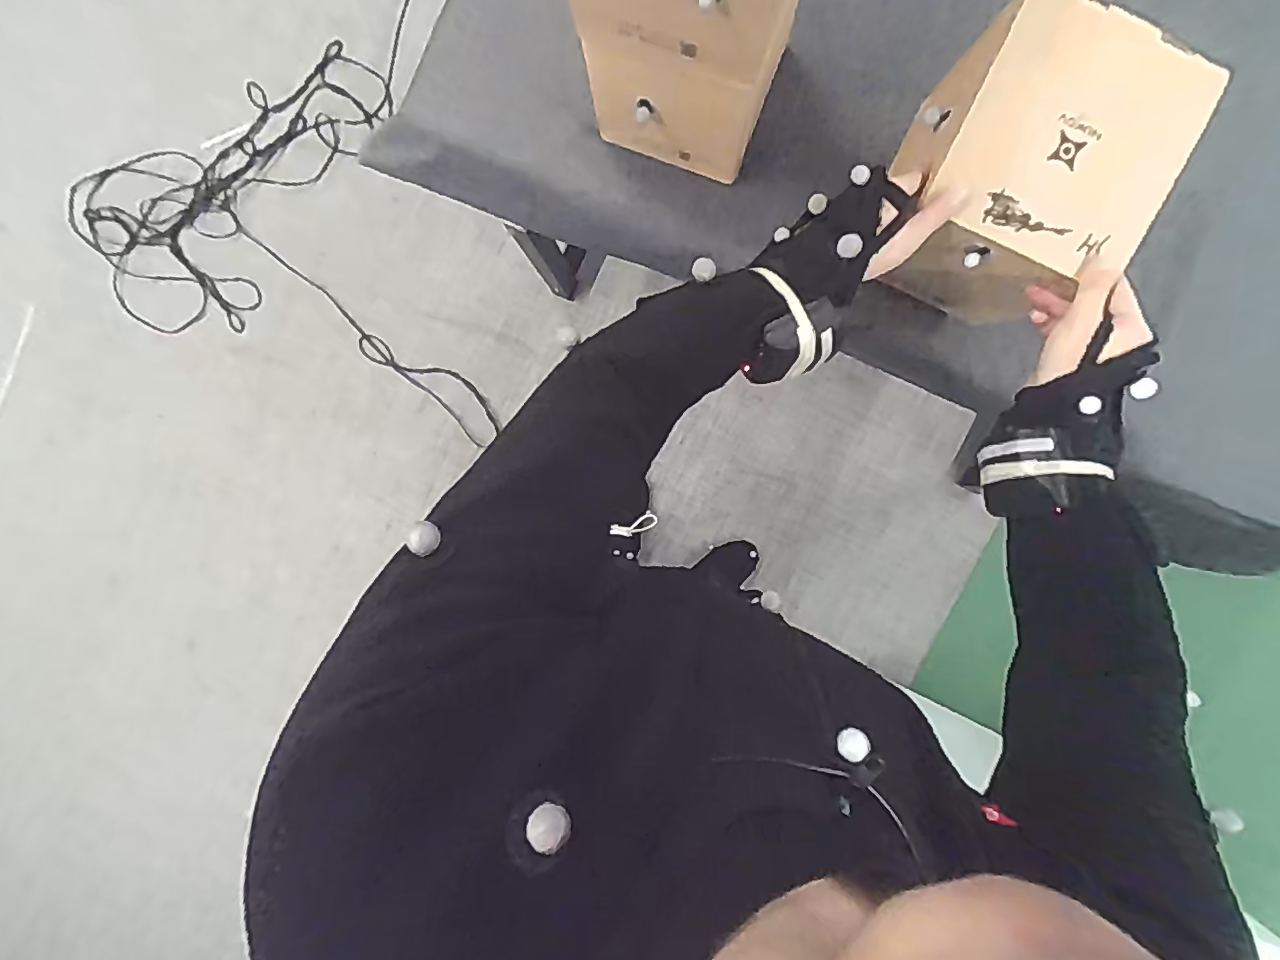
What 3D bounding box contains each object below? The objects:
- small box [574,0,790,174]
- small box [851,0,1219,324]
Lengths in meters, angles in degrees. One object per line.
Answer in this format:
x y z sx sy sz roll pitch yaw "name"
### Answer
0.051 -0.451 0.545 0.168 0.176 0.179 20 92 1 "small box"
0.319 -0.262 0.481 0.168 0.176 0.179 24 96 -3 "small box"
